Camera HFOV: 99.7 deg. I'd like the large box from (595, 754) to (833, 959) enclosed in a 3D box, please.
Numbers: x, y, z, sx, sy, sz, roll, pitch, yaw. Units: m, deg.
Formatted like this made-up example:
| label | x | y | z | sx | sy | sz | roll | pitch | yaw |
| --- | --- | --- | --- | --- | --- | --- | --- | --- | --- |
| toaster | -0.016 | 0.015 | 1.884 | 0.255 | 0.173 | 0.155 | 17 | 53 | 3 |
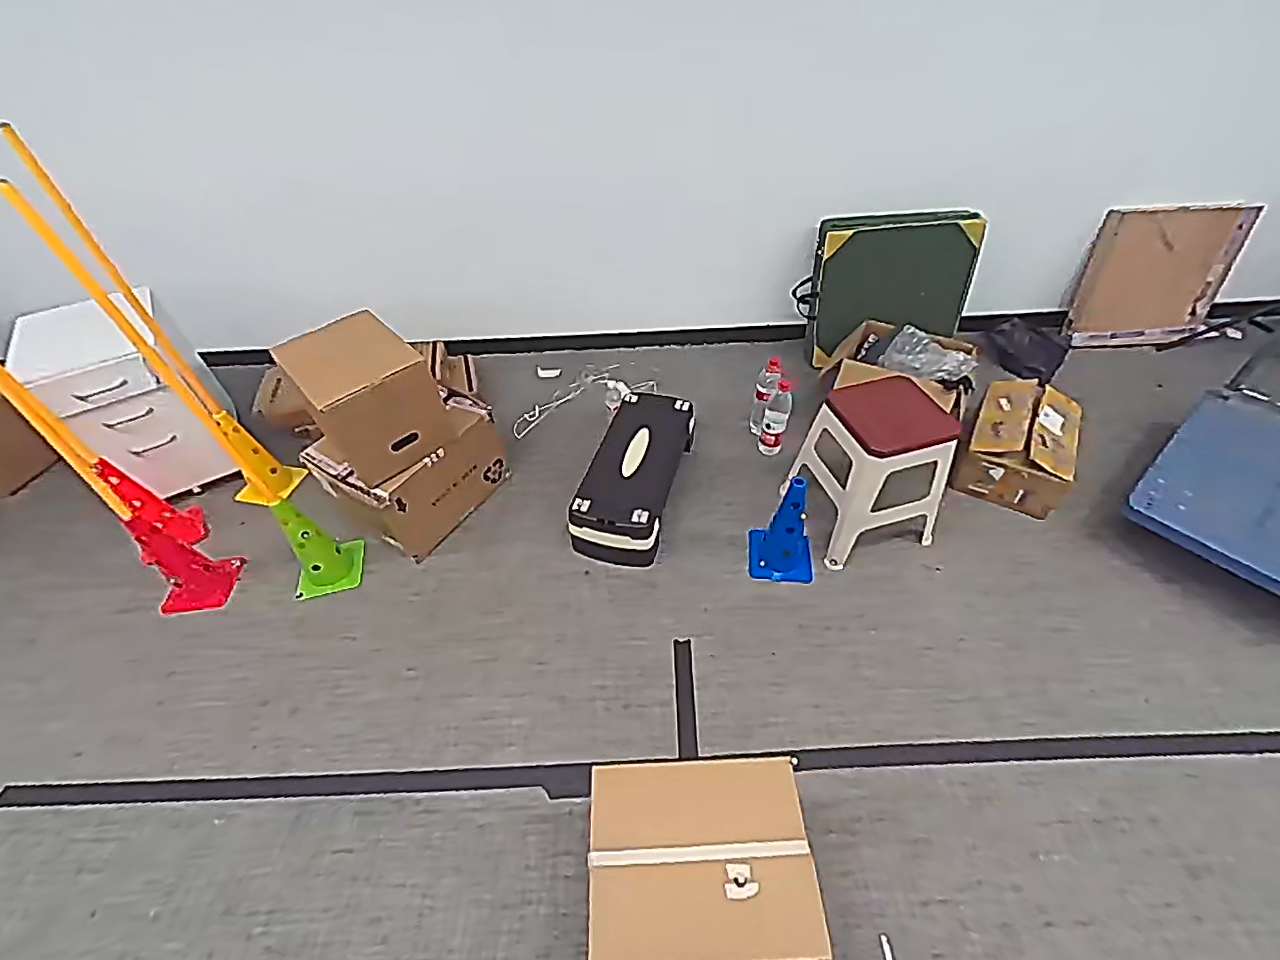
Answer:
| label | x | y | z | sx | sy | sz | roll | pitch | yaw |
| --- | --- | --- | --- | --- | --- | --- | --- | --- | --- |
| large box | 0.117 | 0.783 | 1.098 | 0.408 | 0.320 | 0.320 | -3 | 47 | -1 |
